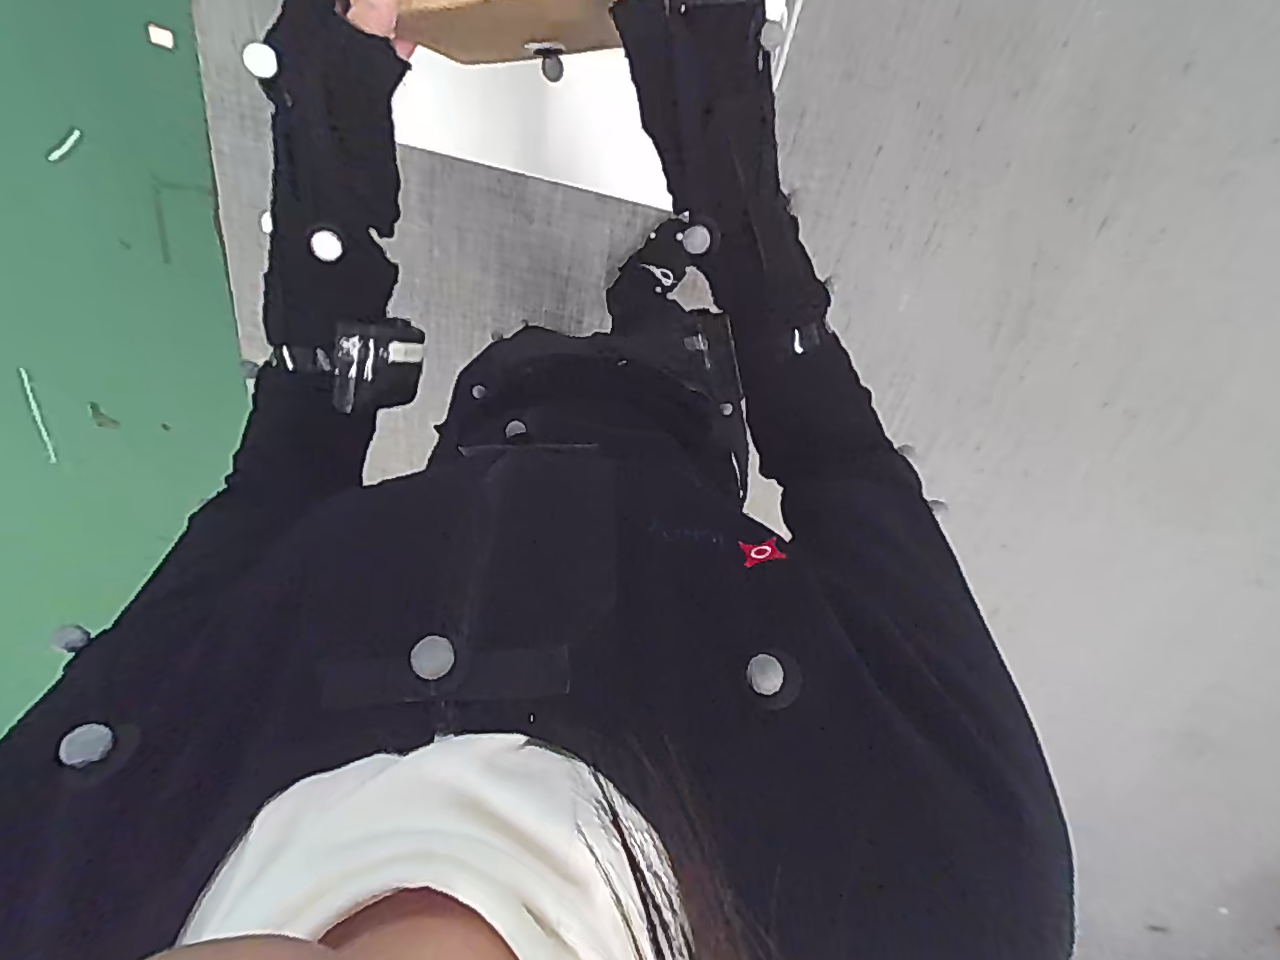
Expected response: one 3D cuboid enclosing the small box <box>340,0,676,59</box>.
[{"bbox_3d":[-0.071,-0.347,0.275,0.168,0.176,0.179,-3,121,8],"label":"small box"}]
